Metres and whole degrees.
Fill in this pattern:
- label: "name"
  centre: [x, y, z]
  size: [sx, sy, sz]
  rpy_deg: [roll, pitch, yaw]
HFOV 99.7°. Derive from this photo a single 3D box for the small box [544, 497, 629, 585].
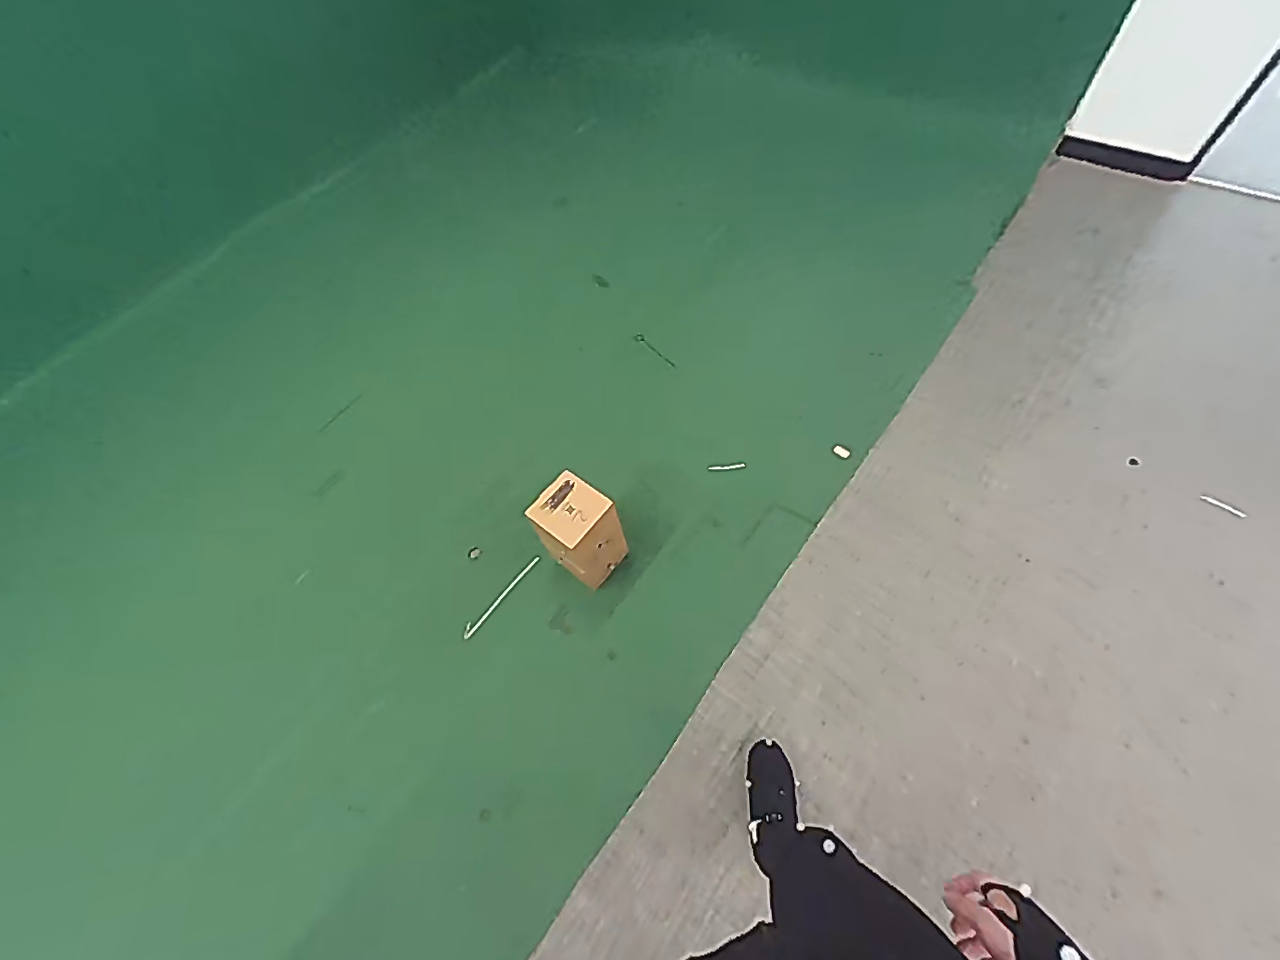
- label: "small box"
  centre: [-0.155, 0.188, 1.617]
  size: [0.179, 0.176, 0.168]
  rpy_deg: [35, 71, 22]
